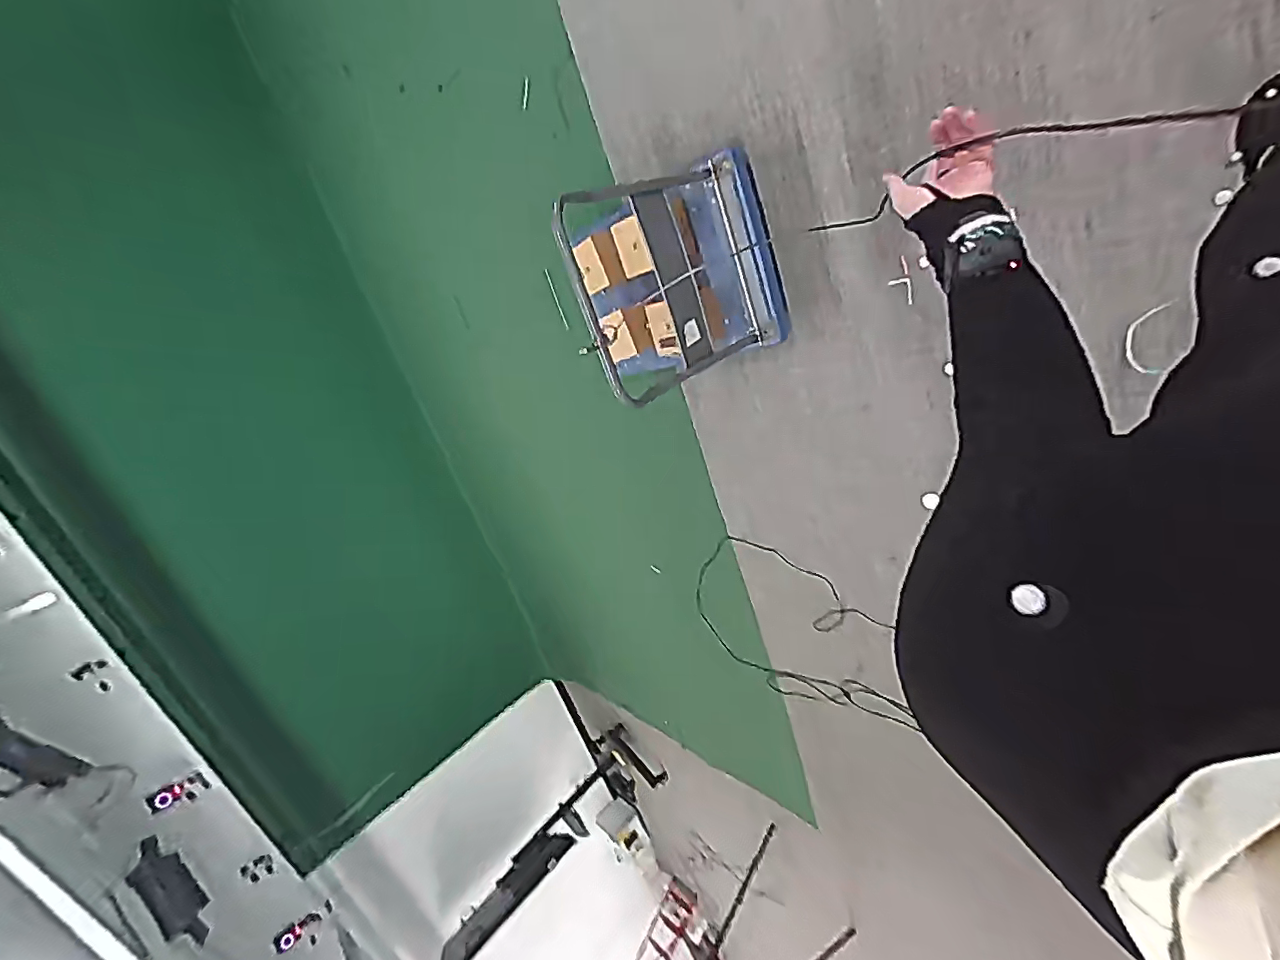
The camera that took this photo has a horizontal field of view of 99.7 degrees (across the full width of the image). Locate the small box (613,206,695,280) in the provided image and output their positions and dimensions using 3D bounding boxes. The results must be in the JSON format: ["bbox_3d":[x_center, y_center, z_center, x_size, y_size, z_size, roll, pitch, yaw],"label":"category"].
[{"bbox_3d":[0.047,-0.758,1.732,0.179,0.176,0.168,3,119,49],"label":"small box"}]

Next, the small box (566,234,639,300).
[{"bbox_3d":[-0.128,-0.766,1.938,0.179,0.176,0.168,-3,115,50],"label":"small box"}]

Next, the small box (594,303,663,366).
[{"bbox_3d":[-0.034,-0.541,2.001,0.179,0.176,0.168,-3,114,51],"label":"small box"}]
